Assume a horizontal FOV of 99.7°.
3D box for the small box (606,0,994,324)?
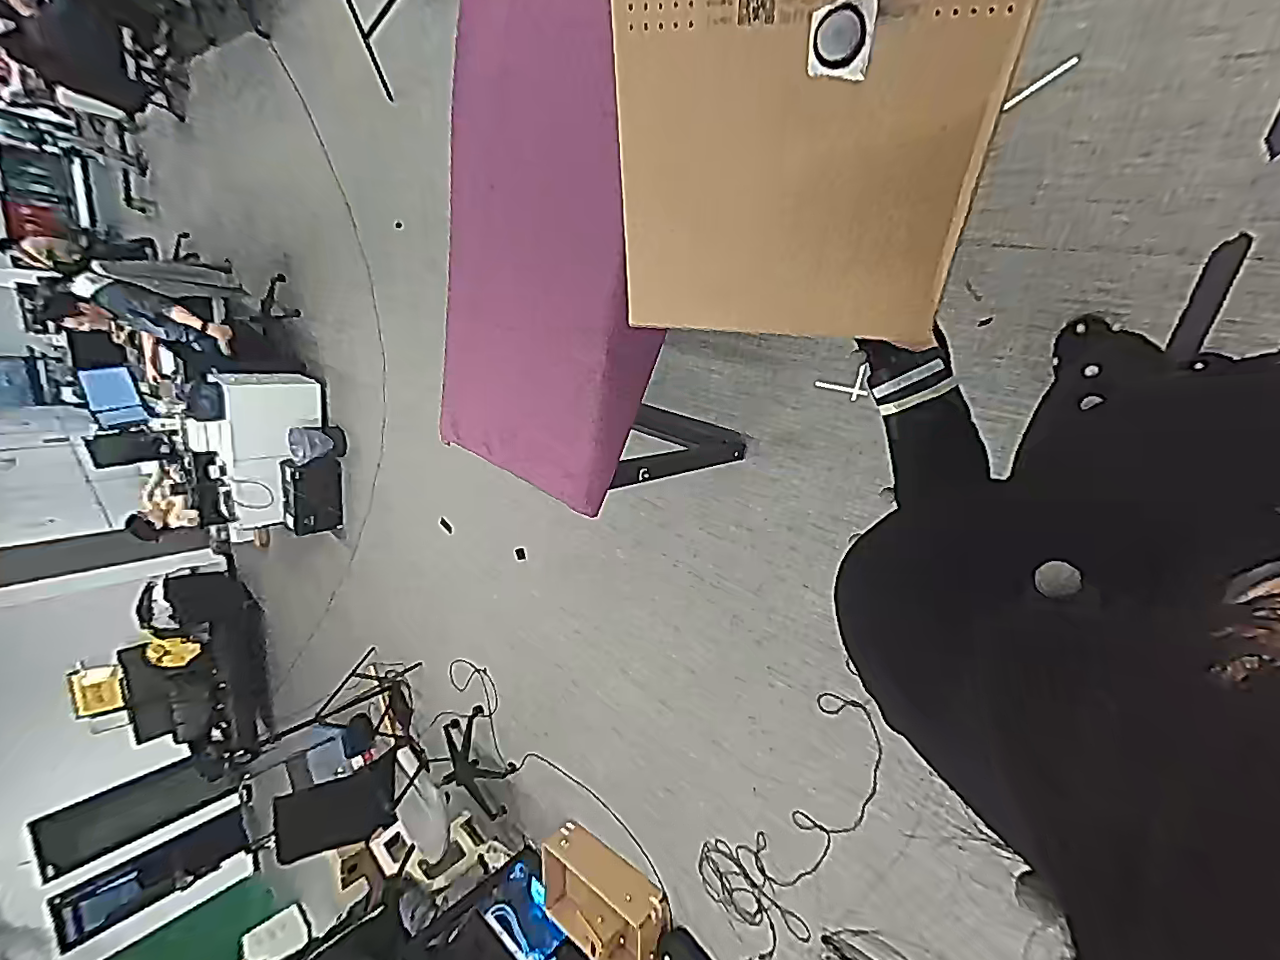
[{"bbox_3d":[0.086,-0.209,0.316,0.168,0.179,0.176,7,130,14],"label":"small box"}]
